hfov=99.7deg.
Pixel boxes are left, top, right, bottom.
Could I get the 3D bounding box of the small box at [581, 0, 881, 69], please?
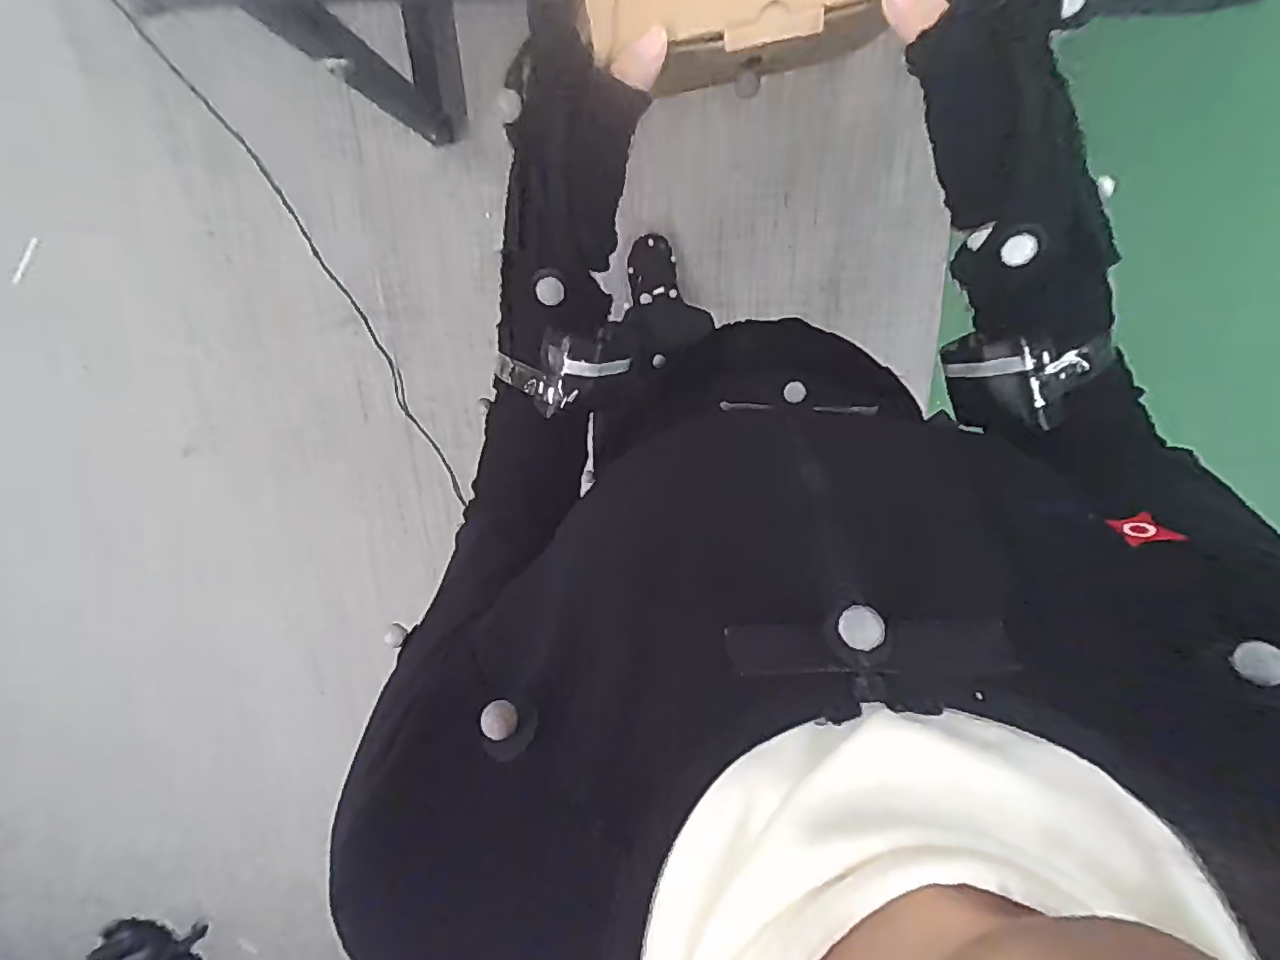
[{"bbox_3d":[0.047,-0.325,0.265,0.168,0.176,0.179,-7,120,7],"label":"small box"}]
